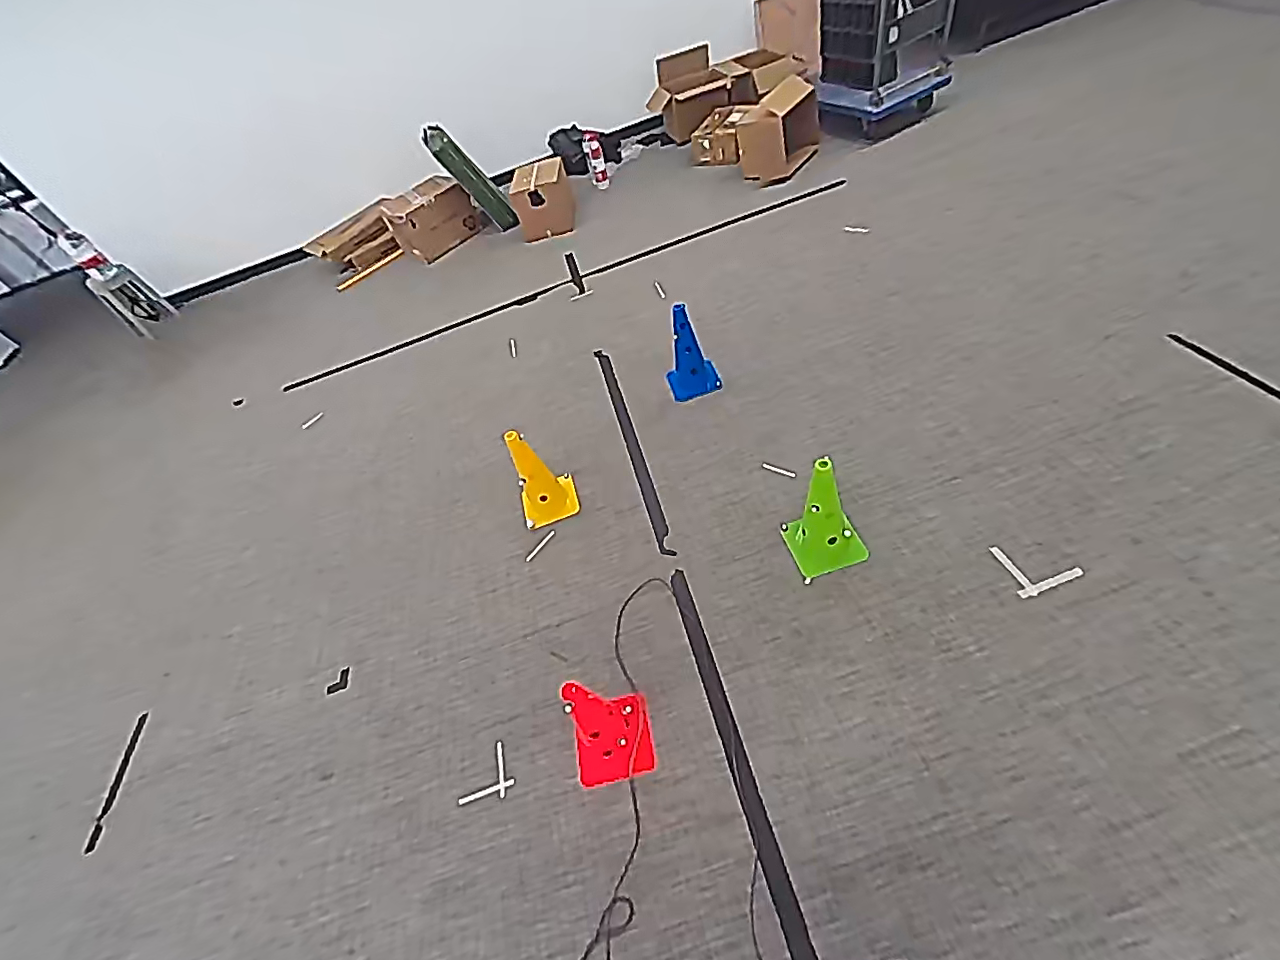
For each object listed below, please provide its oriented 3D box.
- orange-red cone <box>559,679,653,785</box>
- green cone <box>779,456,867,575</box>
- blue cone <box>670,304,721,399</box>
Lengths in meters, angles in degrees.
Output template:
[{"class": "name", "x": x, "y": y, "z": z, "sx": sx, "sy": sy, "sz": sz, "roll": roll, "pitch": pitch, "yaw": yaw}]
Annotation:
[{"class": "orange-red cone", "x": -0.114, "y": 0.557, "z": 1.277, "sx": 0.199, "sy": 0.360, "sz": 0.198, "roll": -17, "pitch": 46, "yaw": 5}, {"class": "green cone", "x": 0.504, "y": 0.073, "z": 1.491, "sx": 0.202, "sy": 0.368, "sz": 0.200, "roll": -19, "pitch": 47, "yaw": 0}, {"class": "blue cone", "x": 0.188, "y": -0.516, "z": 2.123, "sx": 0.192, "sy": 0.380, "sz": 0.193, "roll": -16, "pitch": 48, "yaw": 3}]
